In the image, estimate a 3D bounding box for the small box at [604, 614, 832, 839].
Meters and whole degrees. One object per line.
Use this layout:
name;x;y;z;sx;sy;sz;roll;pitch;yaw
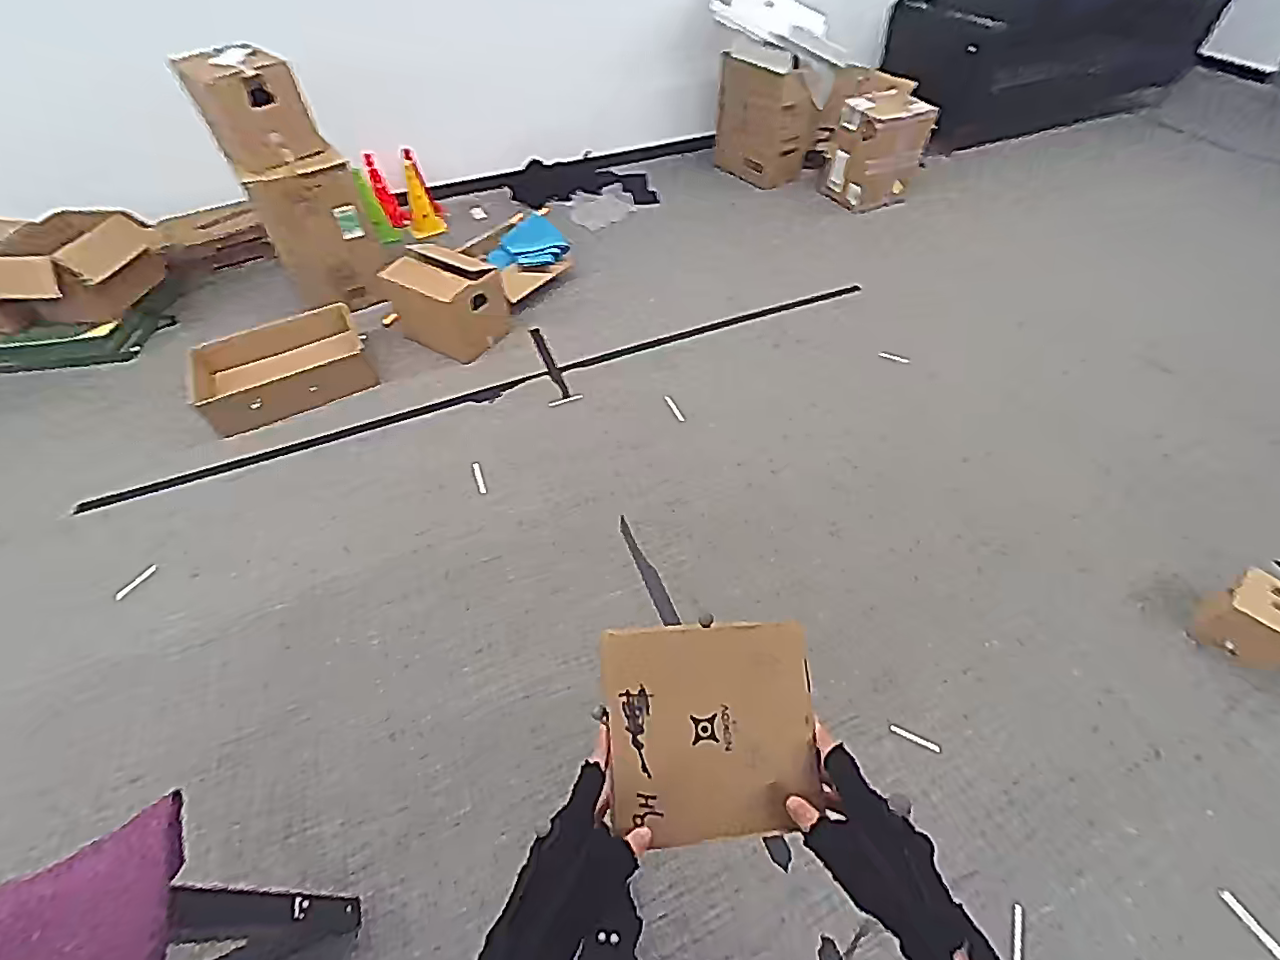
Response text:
small box;0.058;0.217;0.522;0.179;0.176;0.168;-1;75;-7

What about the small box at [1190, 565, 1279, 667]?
small box;1.679;0.375;1.479;0.179;0.176;0.168;-36;58;-24
